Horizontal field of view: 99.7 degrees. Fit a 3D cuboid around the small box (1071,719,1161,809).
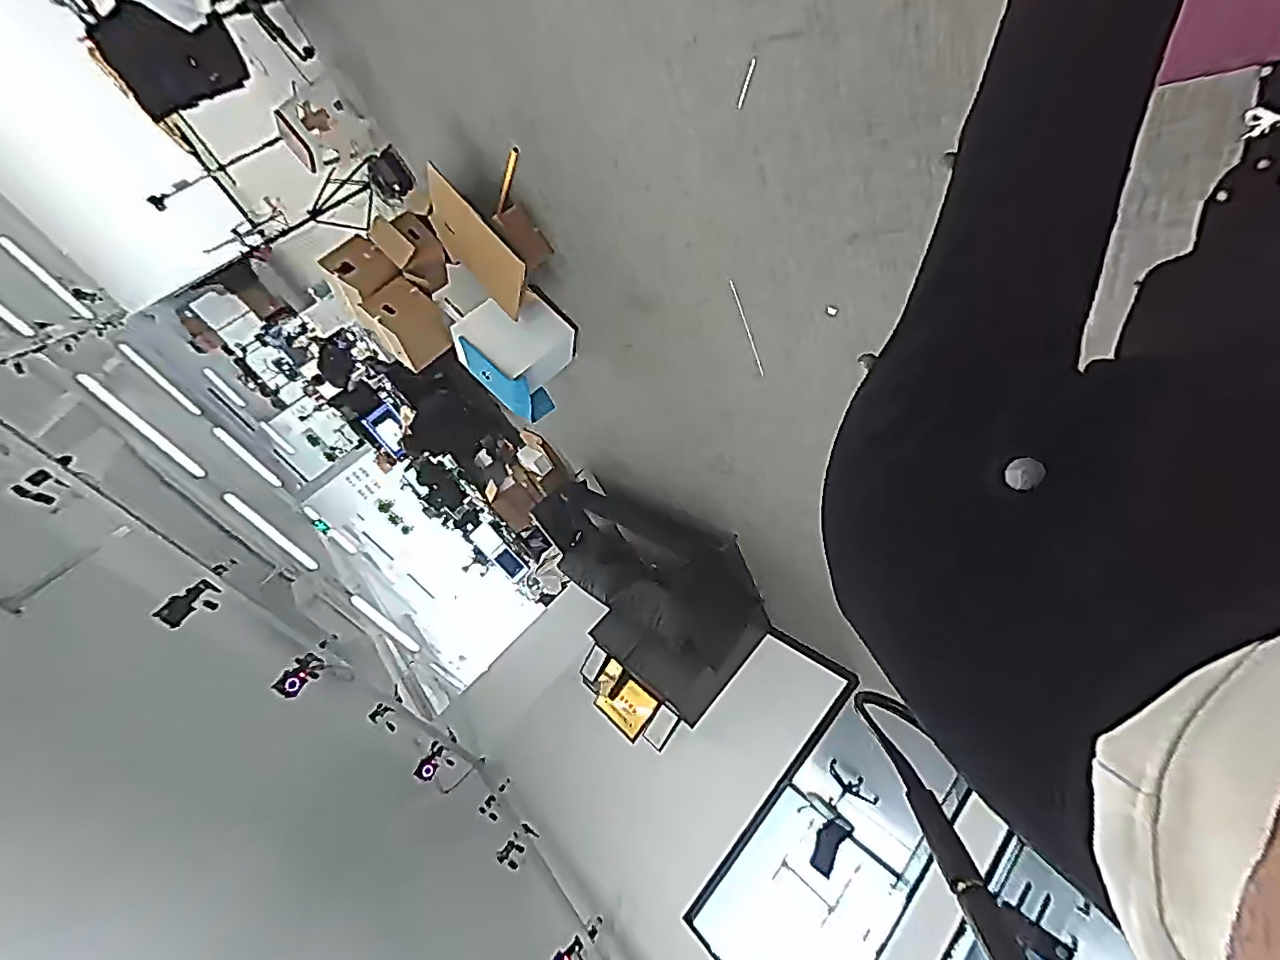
[{"bbox_3d":[1.554,0.923,1.767,0.168,0.176,0.179,28,153,44],"label":"small box"}]
